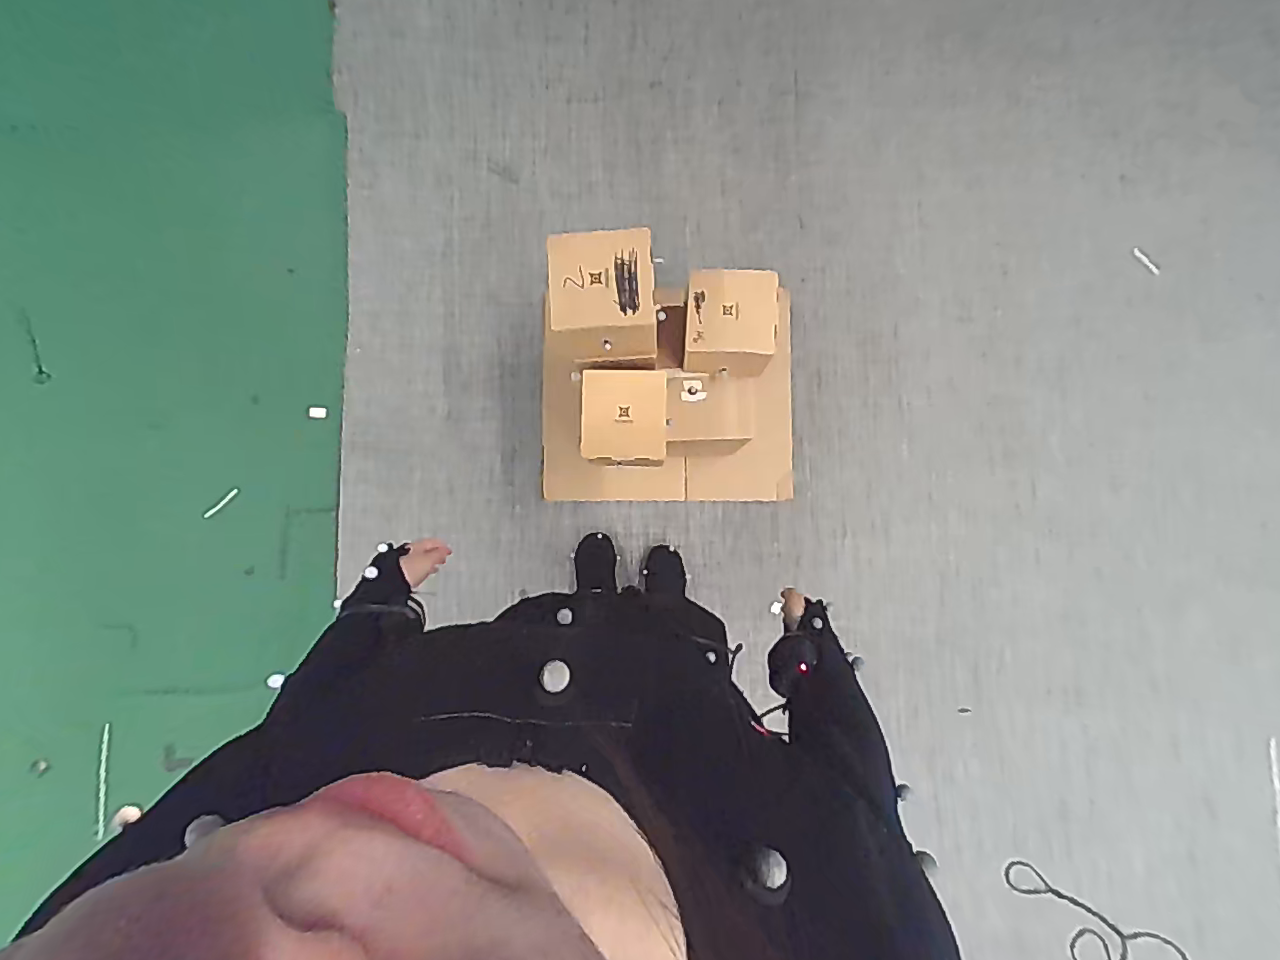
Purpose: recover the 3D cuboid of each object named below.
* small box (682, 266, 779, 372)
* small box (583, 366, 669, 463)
[{"bbox_3d":[0.182,-0.326,1.125,0.179,0.176,0.168,4,87,4],"label":"small box"},{"bbox_3d":[-0.028,-0.129,1.120,0.168,0.176,0.179,1,88,1],"label":"small box"}]
